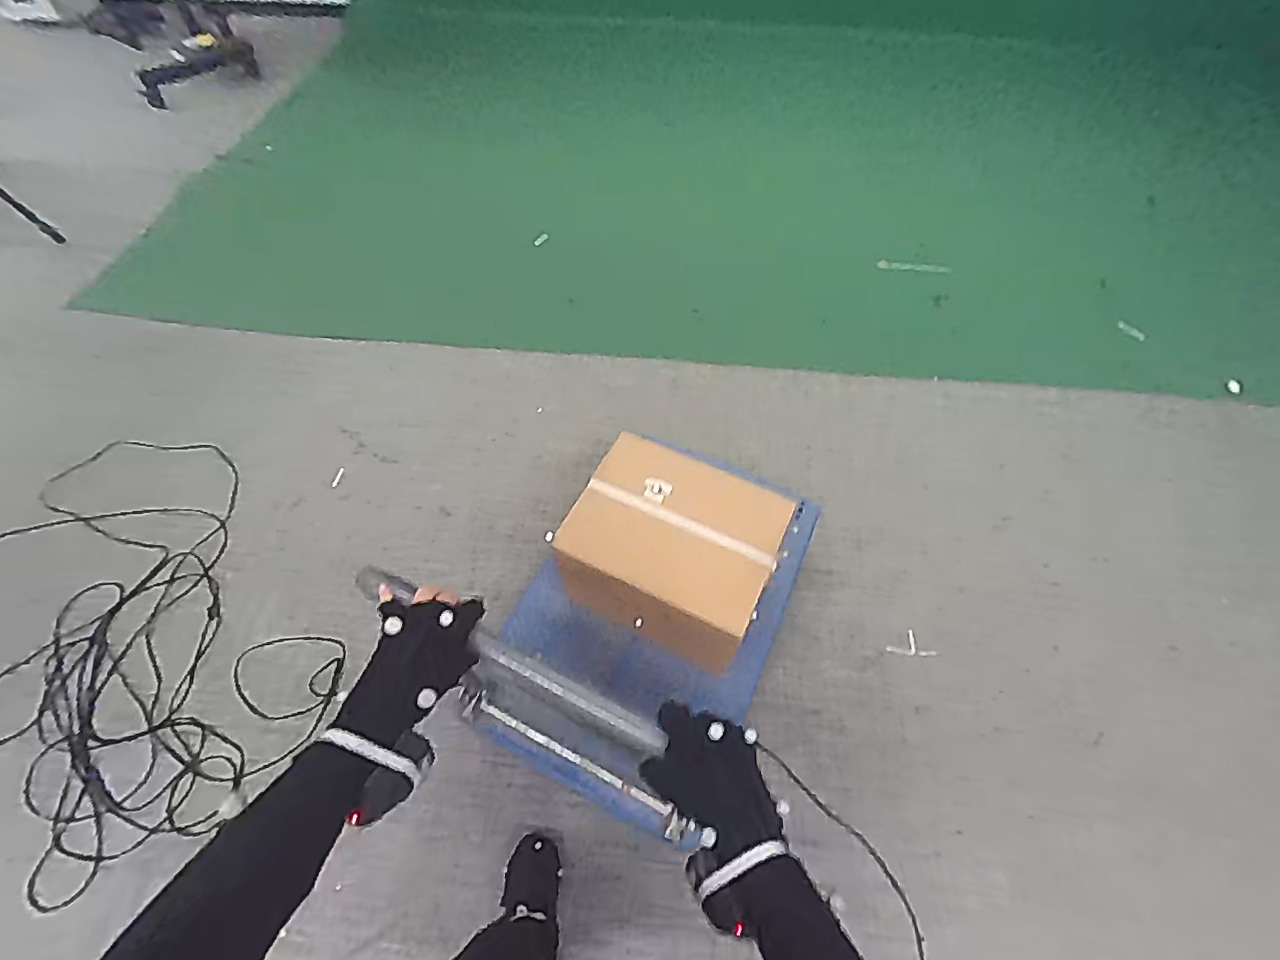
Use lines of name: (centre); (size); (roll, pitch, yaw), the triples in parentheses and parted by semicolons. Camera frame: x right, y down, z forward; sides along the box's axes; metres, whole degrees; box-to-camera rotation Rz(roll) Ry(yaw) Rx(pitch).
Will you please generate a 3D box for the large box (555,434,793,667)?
large box: (0.078, 0.162, 1.211); (0.408, 0.320, 0.320); (23, 59, 15)
